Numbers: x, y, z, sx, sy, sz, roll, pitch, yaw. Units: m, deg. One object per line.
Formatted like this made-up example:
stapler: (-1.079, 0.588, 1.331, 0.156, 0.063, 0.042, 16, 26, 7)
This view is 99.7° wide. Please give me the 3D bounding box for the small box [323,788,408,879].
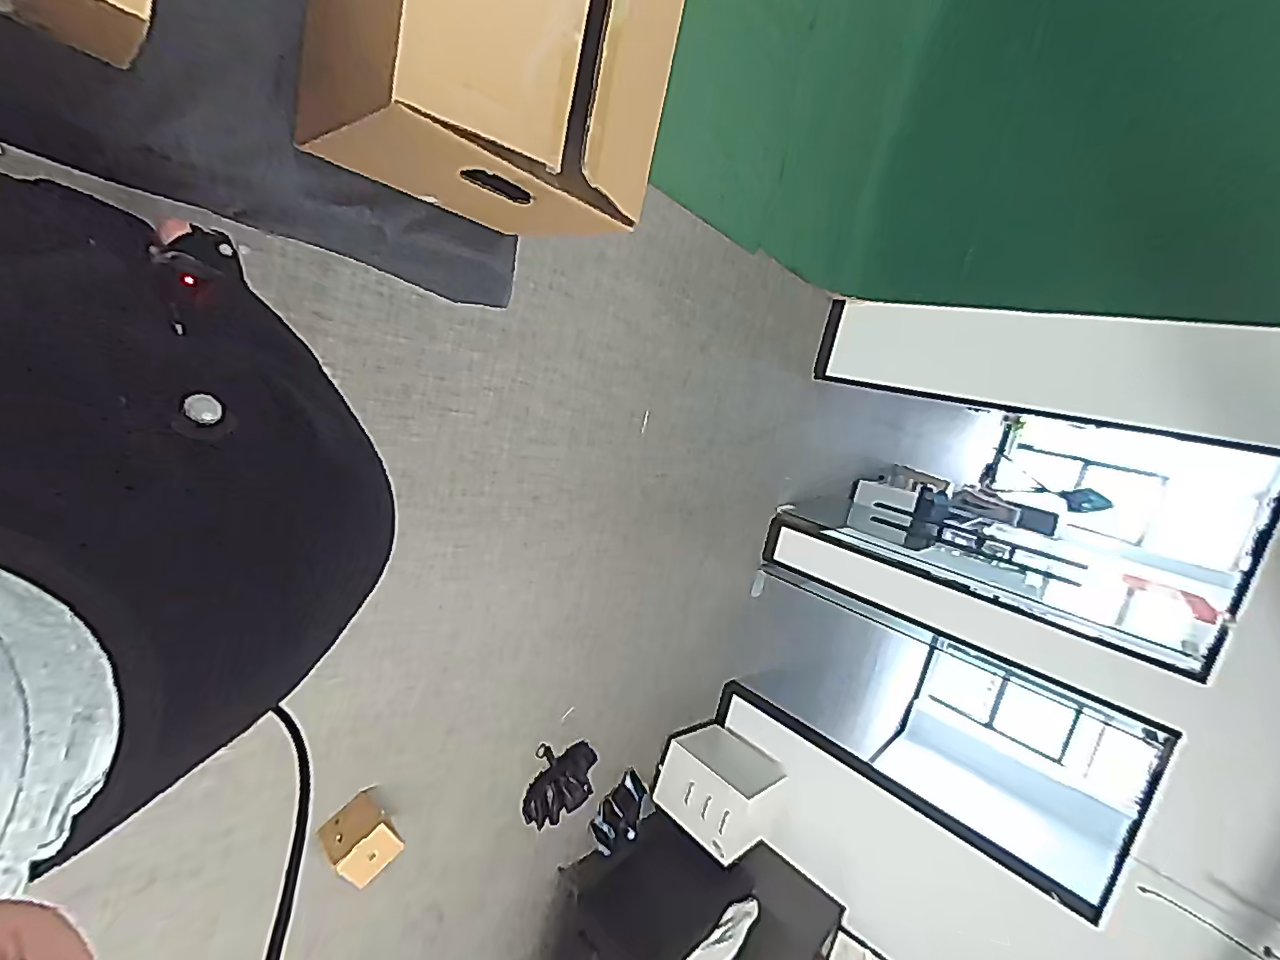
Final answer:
small box: (-0.927, 1.182, 1.821, 0.168, 0.176, 0.179, -39, 134, -30)
